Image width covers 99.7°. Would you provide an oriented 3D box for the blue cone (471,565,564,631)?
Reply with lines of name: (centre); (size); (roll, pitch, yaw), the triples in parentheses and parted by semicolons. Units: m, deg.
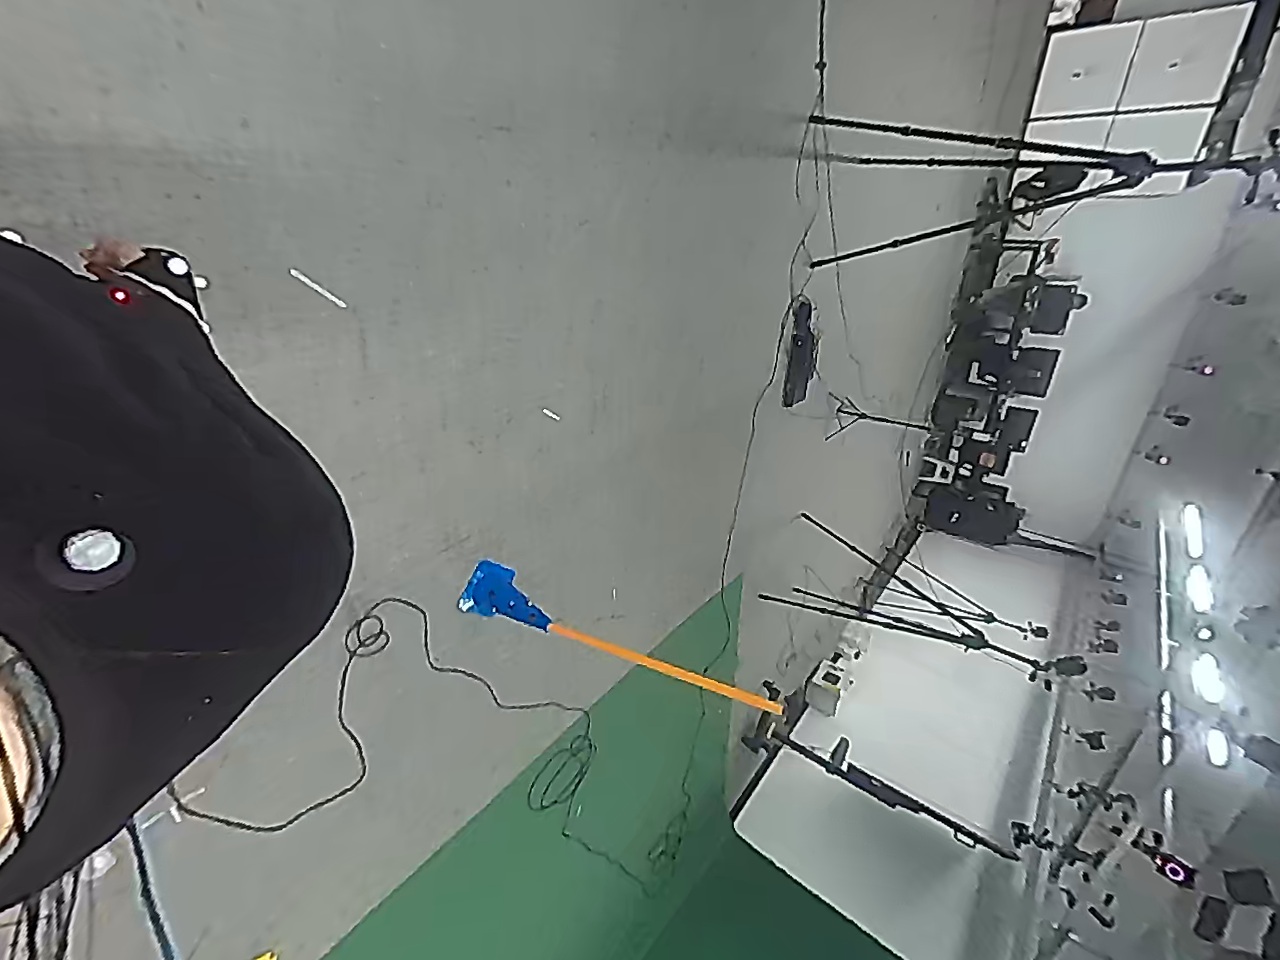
blue cone: (-0.422, 0.460, 1.960); (0.192, 0.380, 0.193); (37, 74, -52)
